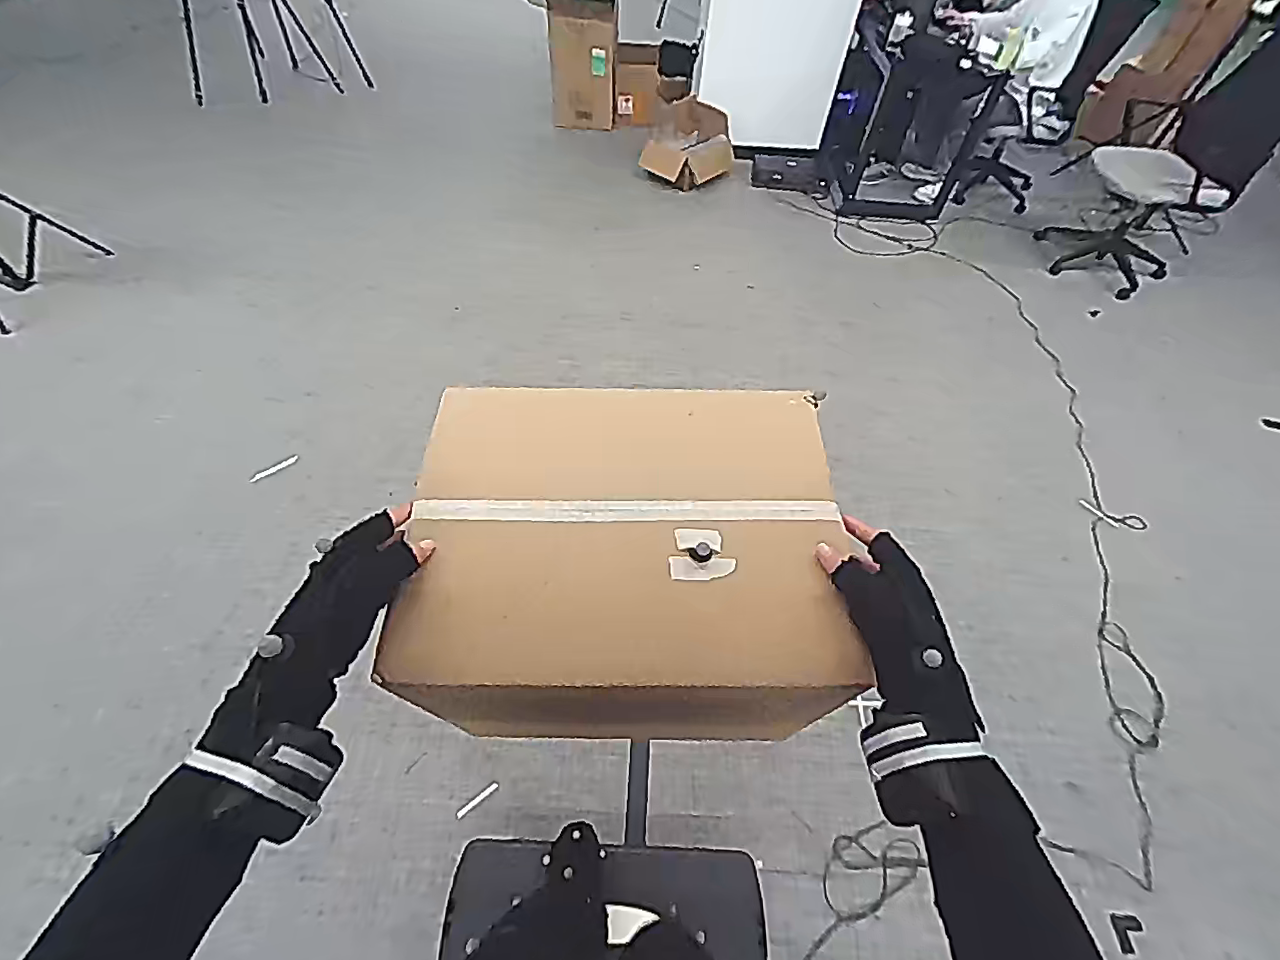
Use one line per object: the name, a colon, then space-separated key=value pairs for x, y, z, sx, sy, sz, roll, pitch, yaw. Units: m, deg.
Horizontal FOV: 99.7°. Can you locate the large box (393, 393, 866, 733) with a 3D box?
large box: x=-0.013 y=0.113 z=0.651 sx=0.408 sy=0.320 sz=0.320 roll=1 pitch=58 yaw=-1
